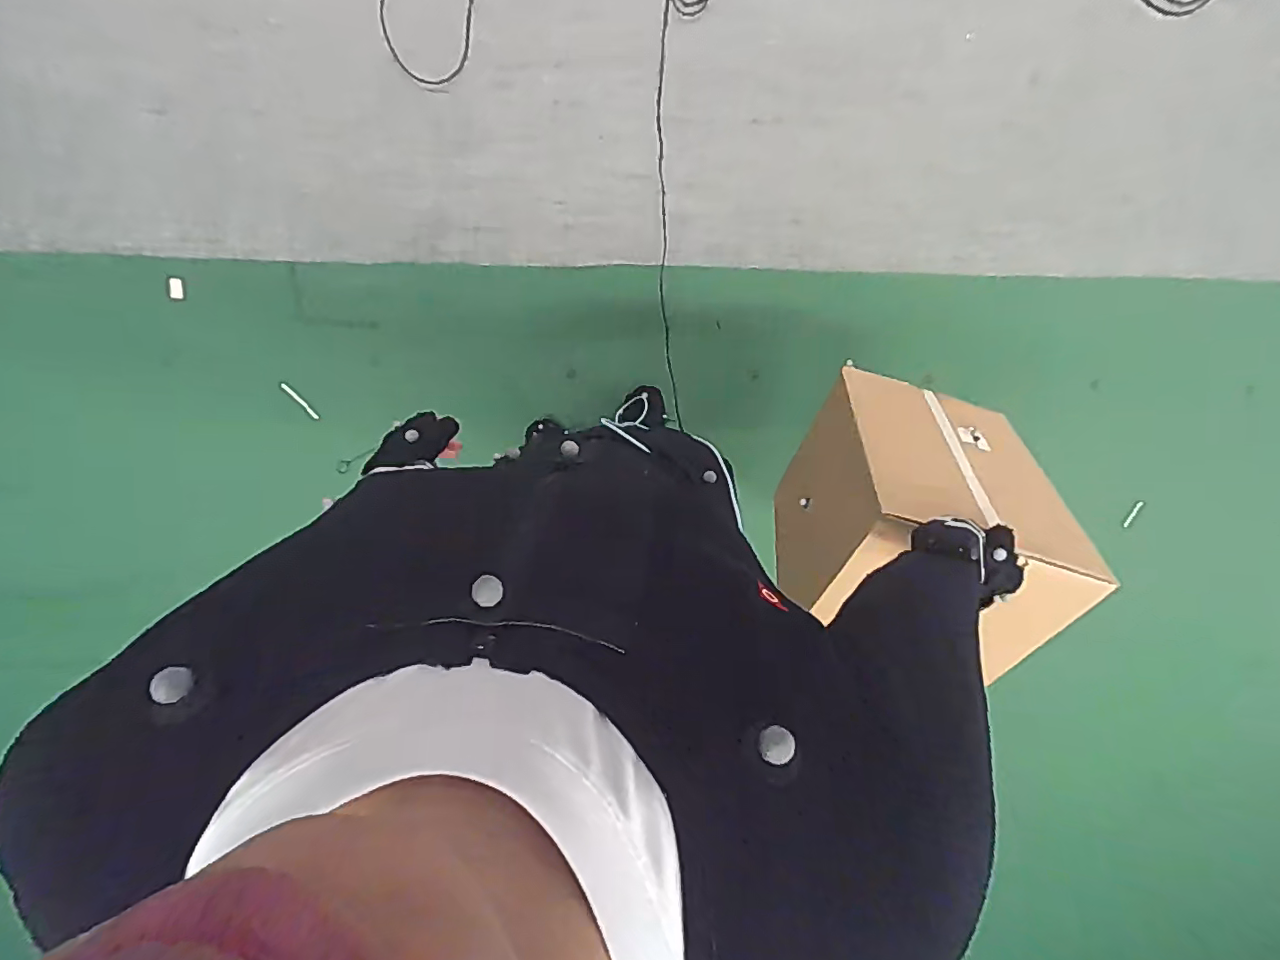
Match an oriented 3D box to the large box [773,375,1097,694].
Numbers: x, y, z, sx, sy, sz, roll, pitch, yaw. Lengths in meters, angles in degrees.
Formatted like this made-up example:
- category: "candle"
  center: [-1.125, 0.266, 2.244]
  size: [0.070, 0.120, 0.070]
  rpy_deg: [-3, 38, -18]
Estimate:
- category: "large box"
  center: [0.435, 0.082, 0.930]
  size: [0.320, 0.408, 0.320]
  rpy_deg: [18, 129, -2]
